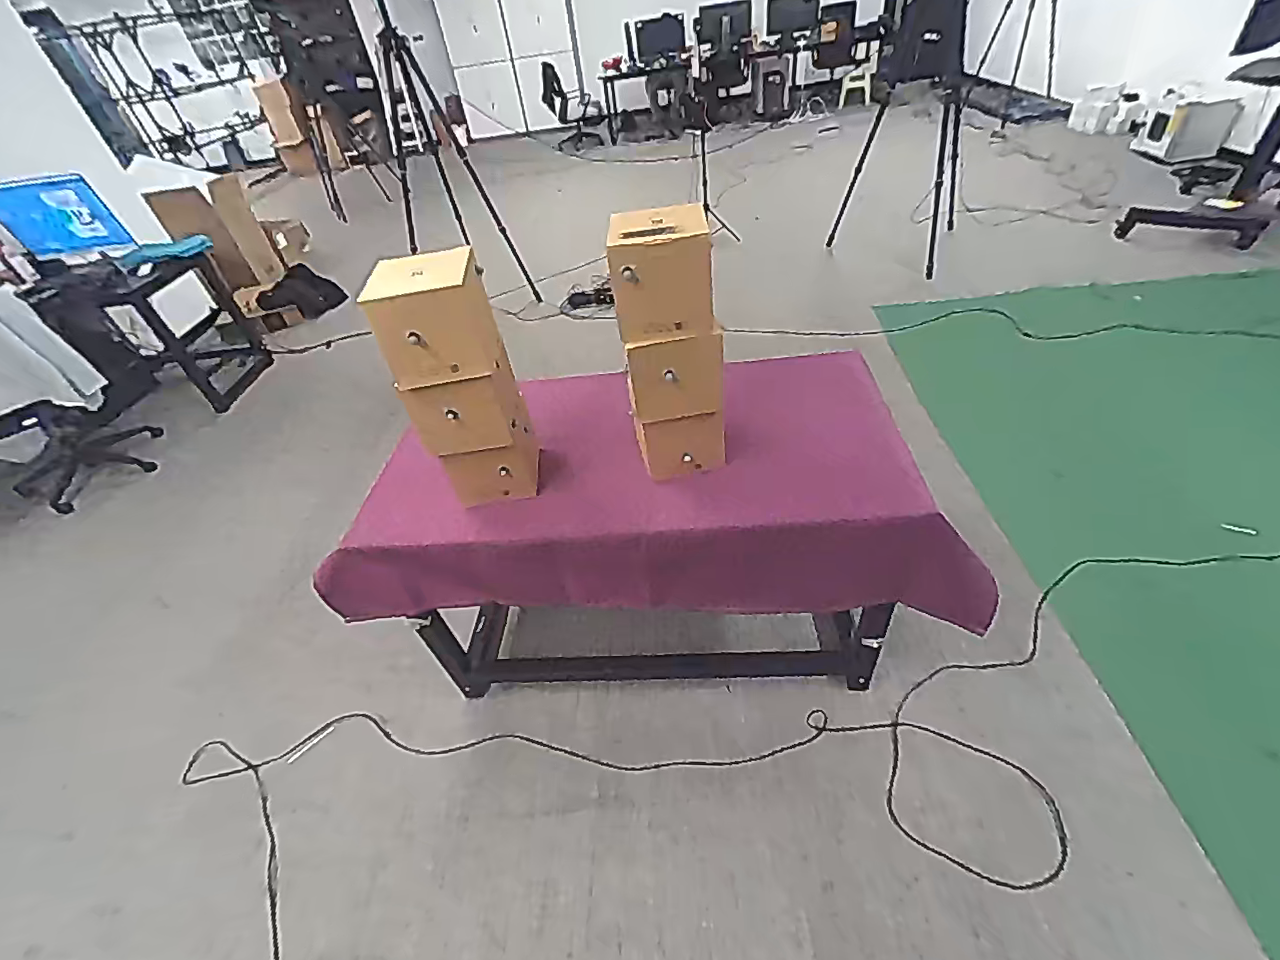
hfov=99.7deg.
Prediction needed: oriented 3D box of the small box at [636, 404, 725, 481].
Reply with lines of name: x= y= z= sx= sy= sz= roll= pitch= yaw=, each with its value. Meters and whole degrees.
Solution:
small box: x=0.083 y=-0.124 z=1.175 sx=0.168 sy=0.176 sz=0.179 roll=-13 pitch=42 yaw=-2

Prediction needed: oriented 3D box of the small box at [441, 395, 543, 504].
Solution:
small box: x=-0.317 y=-0.061 z=1.195 sx=0.168 sy=0.176 sz=0.179 roll=-8 pitch=41 yaw=1

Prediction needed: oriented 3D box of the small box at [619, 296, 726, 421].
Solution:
small box: x=0.063 y=-0.232 z=1.051 sx=0.179 sy=0.176 sz=0.168 roll=-10 pitch=42 yaw=1

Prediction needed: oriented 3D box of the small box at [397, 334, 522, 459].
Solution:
small box: x=-0.342 y=-0.163 z=1.067 sx=0.179 sy=0.176 sz=0.168 roll=-9 pitch=42 yaw=2

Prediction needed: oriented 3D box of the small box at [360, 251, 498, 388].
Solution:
small box: x=-0.355 y=-0.276 z=0.950 sx=0.168 sy=0.176 sz=0.179 roll=-11 pitch=41 yaw=-2
